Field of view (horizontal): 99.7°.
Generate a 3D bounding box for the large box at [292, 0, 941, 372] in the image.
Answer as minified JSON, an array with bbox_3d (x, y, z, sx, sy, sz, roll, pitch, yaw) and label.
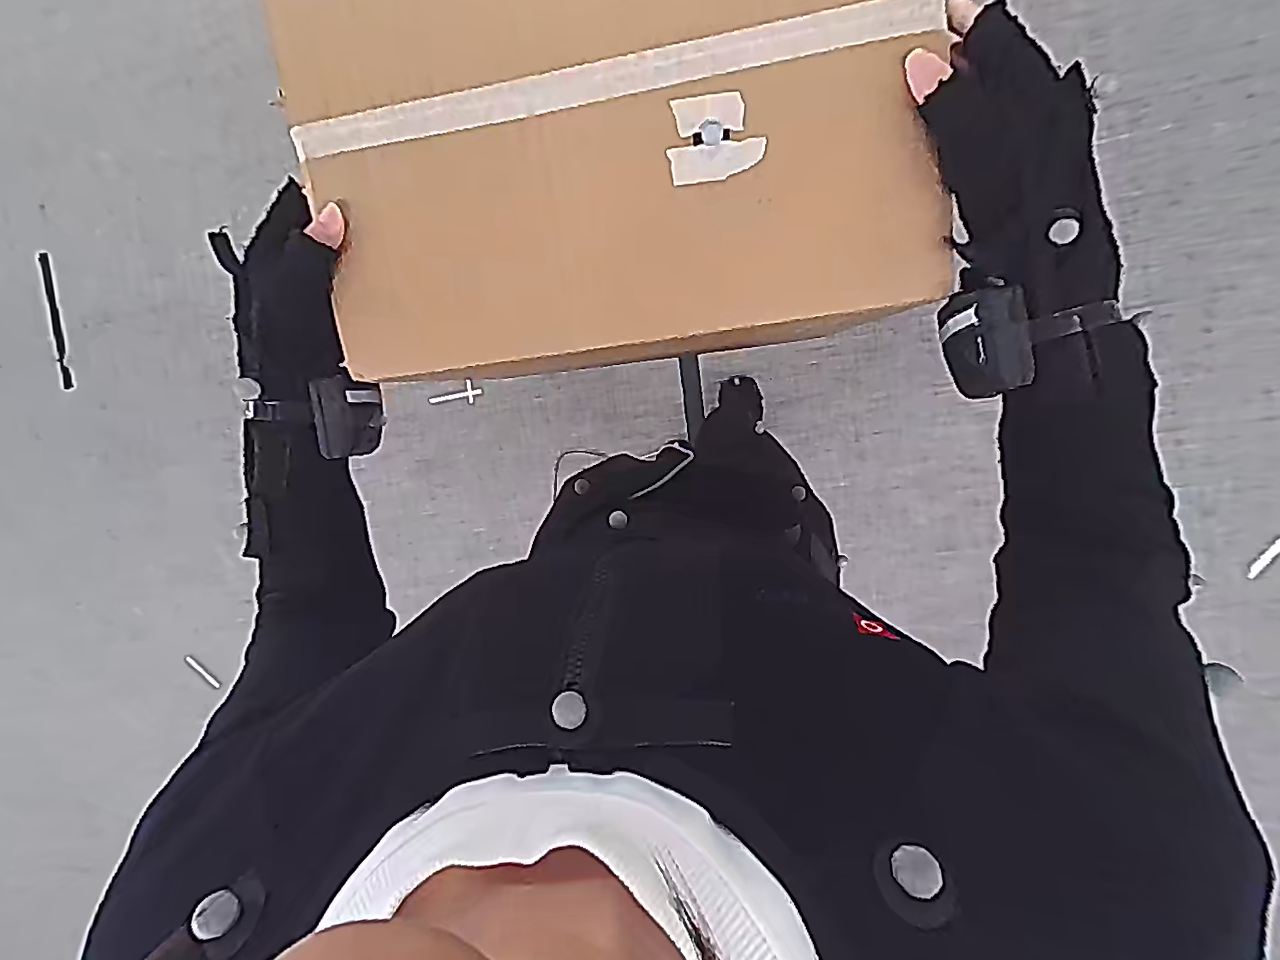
[{"bbox_3d":[-0.010,-0.283,0.492,0.408,0.320,0.320,-7,101,7],"label":"large box"}]
